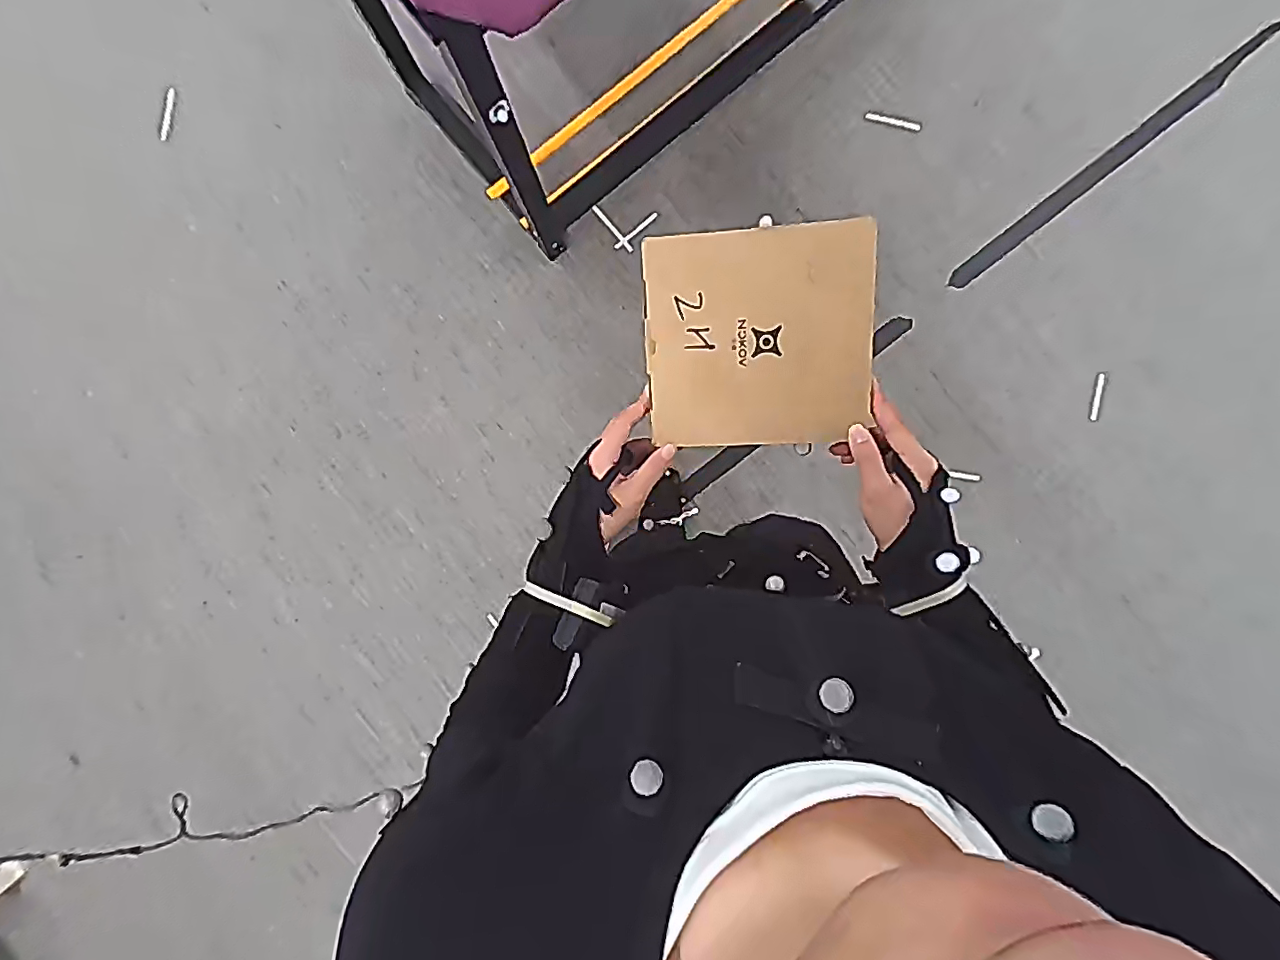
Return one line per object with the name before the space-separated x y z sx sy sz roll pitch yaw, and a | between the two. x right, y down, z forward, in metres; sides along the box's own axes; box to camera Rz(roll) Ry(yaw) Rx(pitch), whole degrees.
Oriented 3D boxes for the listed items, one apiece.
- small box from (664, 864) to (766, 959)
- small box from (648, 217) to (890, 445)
small box | 0.174 1.083 1.290 0.168 0.176 0.179 44 90 1
small box | 0.107 -0.127 0.489 0.179 0.176 0.168 0 103 11
